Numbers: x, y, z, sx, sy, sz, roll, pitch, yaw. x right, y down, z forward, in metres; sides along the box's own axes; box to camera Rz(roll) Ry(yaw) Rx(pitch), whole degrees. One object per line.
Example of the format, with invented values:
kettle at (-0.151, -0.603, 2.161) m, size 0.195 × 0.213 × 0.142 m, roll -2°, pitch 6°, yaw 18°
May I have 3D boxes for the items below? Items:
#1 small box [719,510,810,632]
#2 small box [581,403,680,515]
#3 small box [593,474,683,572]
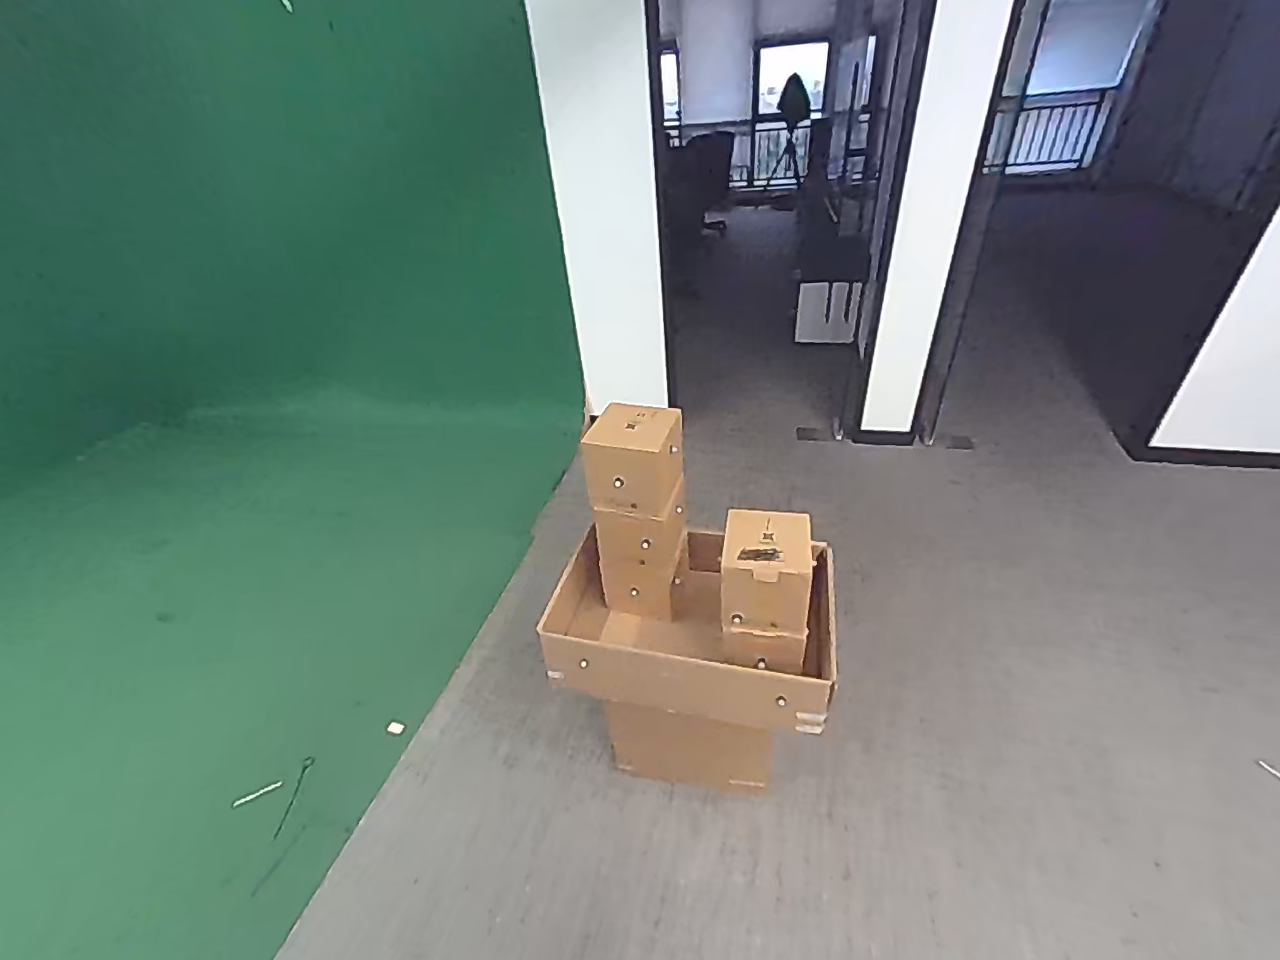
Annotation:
small box at (0.252, 0.184, 1.096) m, size 0.168 × 0.176 × 0.179 m, roll 4°, pitch 37°, yaw 12°
small box at (-0.011, -0.045, 1.171) m, size 0.168 × 0.176 × 0.179 m, roll 10°, pitch 38°, yaw 16°
small box at (0.004, 0.091, 1.261) m, size 0.168 × 0.176 × 0.179 m, roll 8°, pitch 37°, yaw 15°
